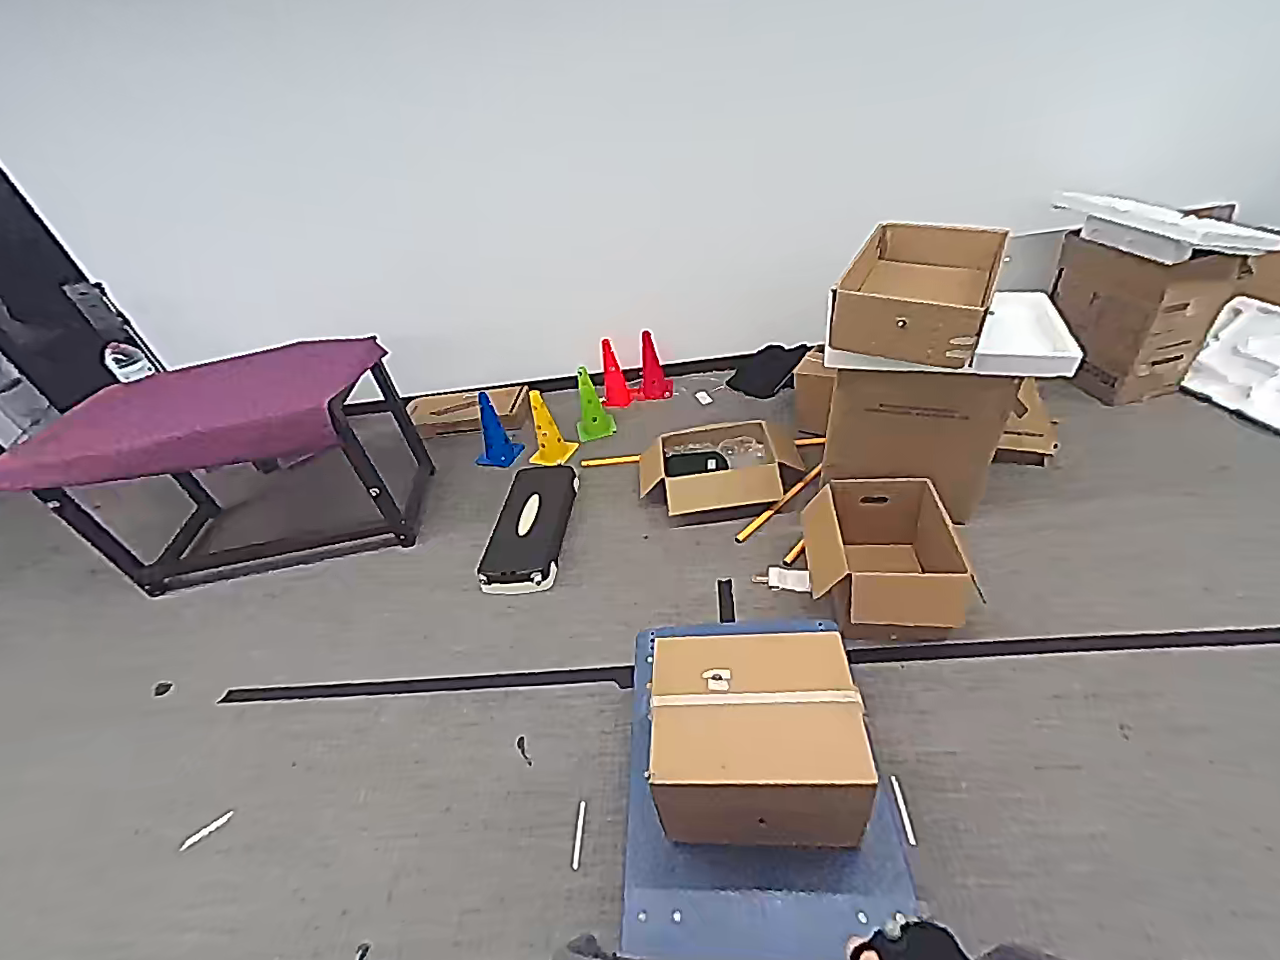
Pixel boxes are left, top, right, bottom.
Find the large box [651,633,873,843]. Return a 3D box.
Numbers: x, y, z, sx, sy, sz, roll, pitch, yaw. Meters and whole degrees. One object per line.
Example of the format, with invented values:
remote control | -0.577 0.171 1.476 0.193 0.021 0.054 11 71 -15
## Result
large box | 0.247 0.567 1.182 0.408 0.320 0.320 -6 37 8
